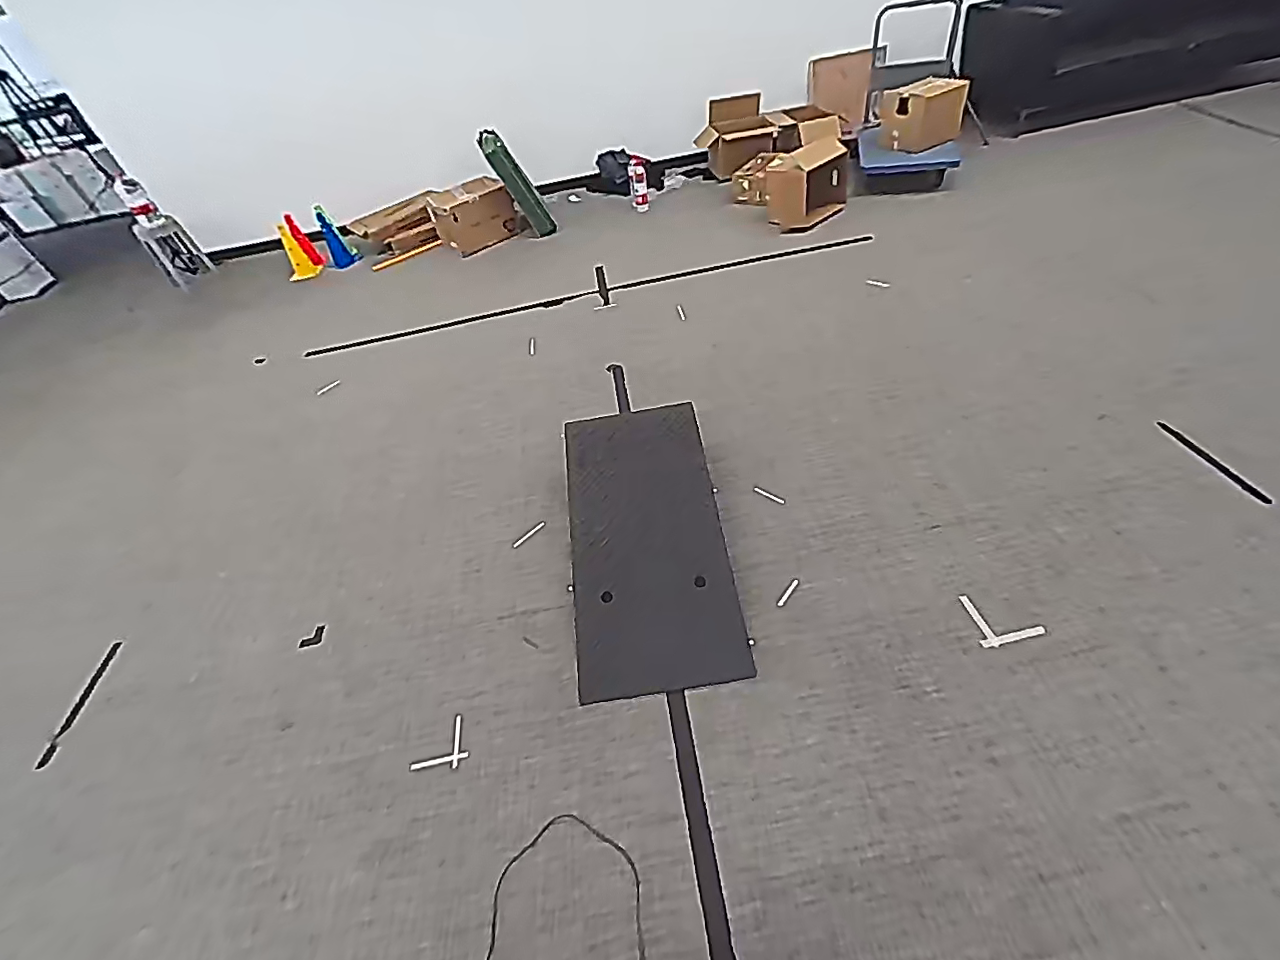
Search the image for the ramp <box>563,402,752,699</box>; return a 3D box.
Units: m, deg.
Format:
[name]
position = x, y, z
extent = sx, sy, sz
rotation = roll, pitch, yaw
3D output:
[ramp]
position = 0.014, 0.157, 1.755
extent = 0.509, 0.206, 0.991
rotation = -10, 46, 0
